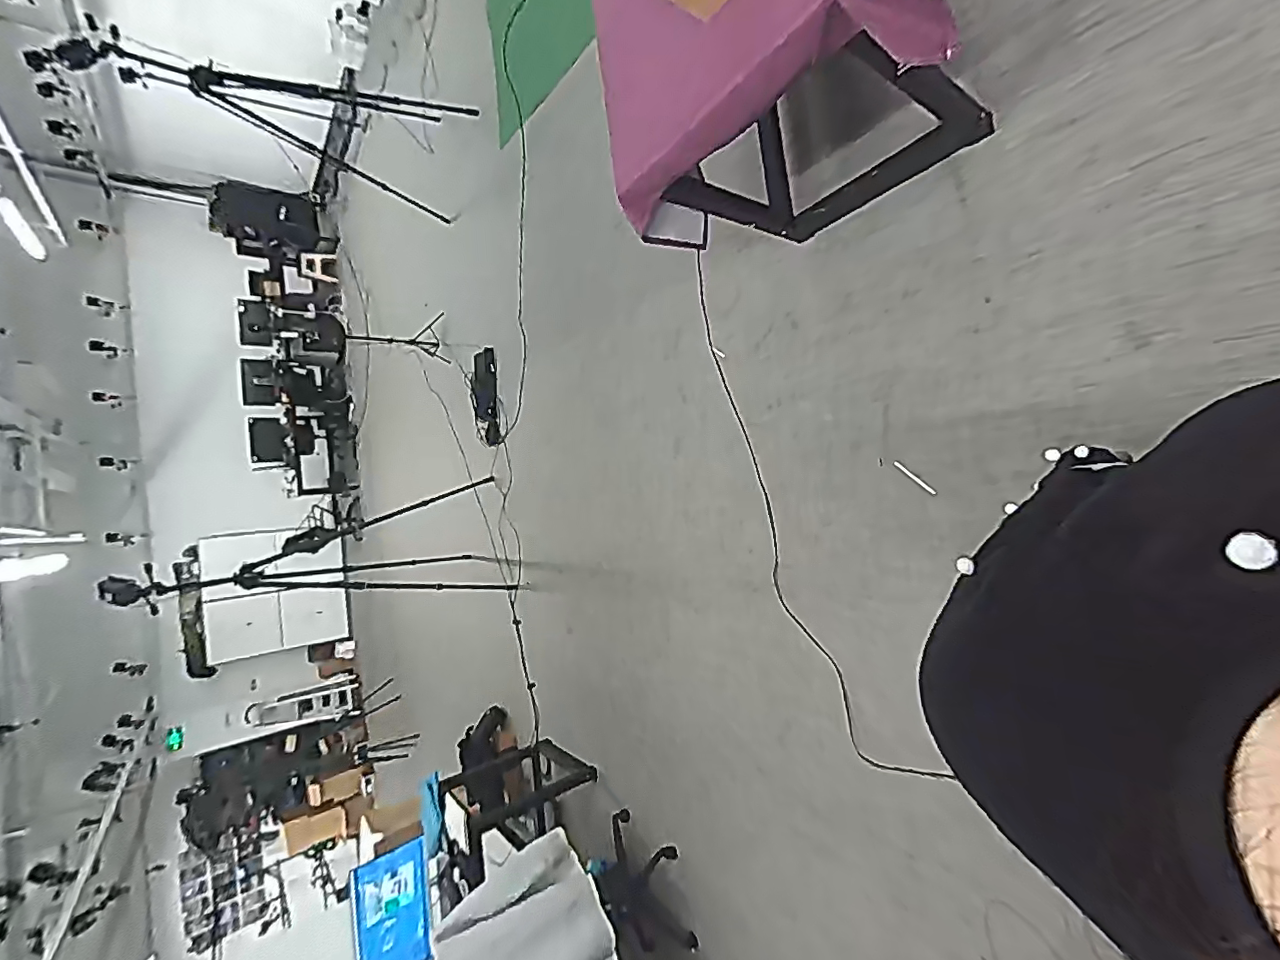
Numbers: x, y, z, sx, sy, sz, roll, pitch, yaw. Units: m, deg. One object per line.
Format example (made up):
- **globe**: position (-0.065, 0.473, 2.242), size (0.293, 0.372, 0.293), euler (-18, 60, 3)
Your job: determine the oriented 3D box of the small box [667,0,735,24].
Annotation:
- **small box**: position (0.121, -0.979, 0.958), size (0.179, 0.176, 0.168), euler (-7, 88, 53)
